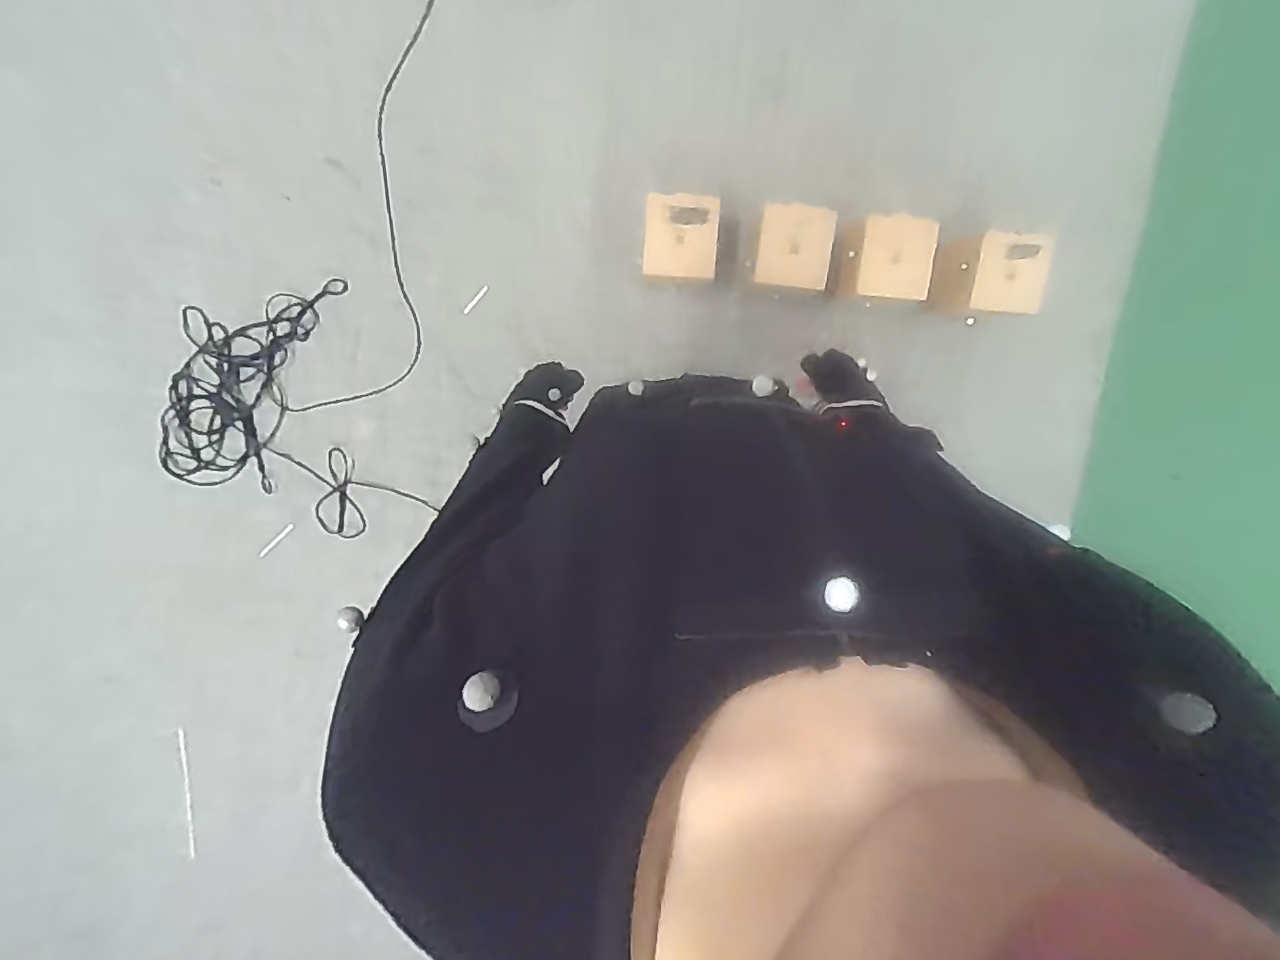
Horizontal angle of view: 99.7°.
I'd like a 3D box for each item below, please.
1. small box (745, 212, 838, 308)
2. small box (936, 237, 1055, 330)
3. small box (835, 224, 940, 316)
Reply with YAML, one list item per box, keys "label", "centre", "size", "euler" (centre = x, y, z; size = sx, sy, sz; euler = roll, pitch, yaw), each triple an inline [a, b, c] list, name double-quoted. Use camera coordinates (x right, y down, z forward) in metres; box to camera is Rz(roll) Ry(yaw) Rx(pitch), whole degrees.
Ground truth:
- label: "small box"
  centre: [0.354, -0.519, 1.298]
  size: [0.168, 0.176, 0.179]
  euler: [6, 100, -1]
- label: "small box"
  centre: [0.846, -0.467, 1.306]
  size: [0.168, 0.176, 0.179]
  euler: [5, 101, -1]
- label: "small box"
  centre: [0.585, -0.497, 1.303]
  size: [0.168, 0.176, 0.179]
  euler: [4, 99, -1]
